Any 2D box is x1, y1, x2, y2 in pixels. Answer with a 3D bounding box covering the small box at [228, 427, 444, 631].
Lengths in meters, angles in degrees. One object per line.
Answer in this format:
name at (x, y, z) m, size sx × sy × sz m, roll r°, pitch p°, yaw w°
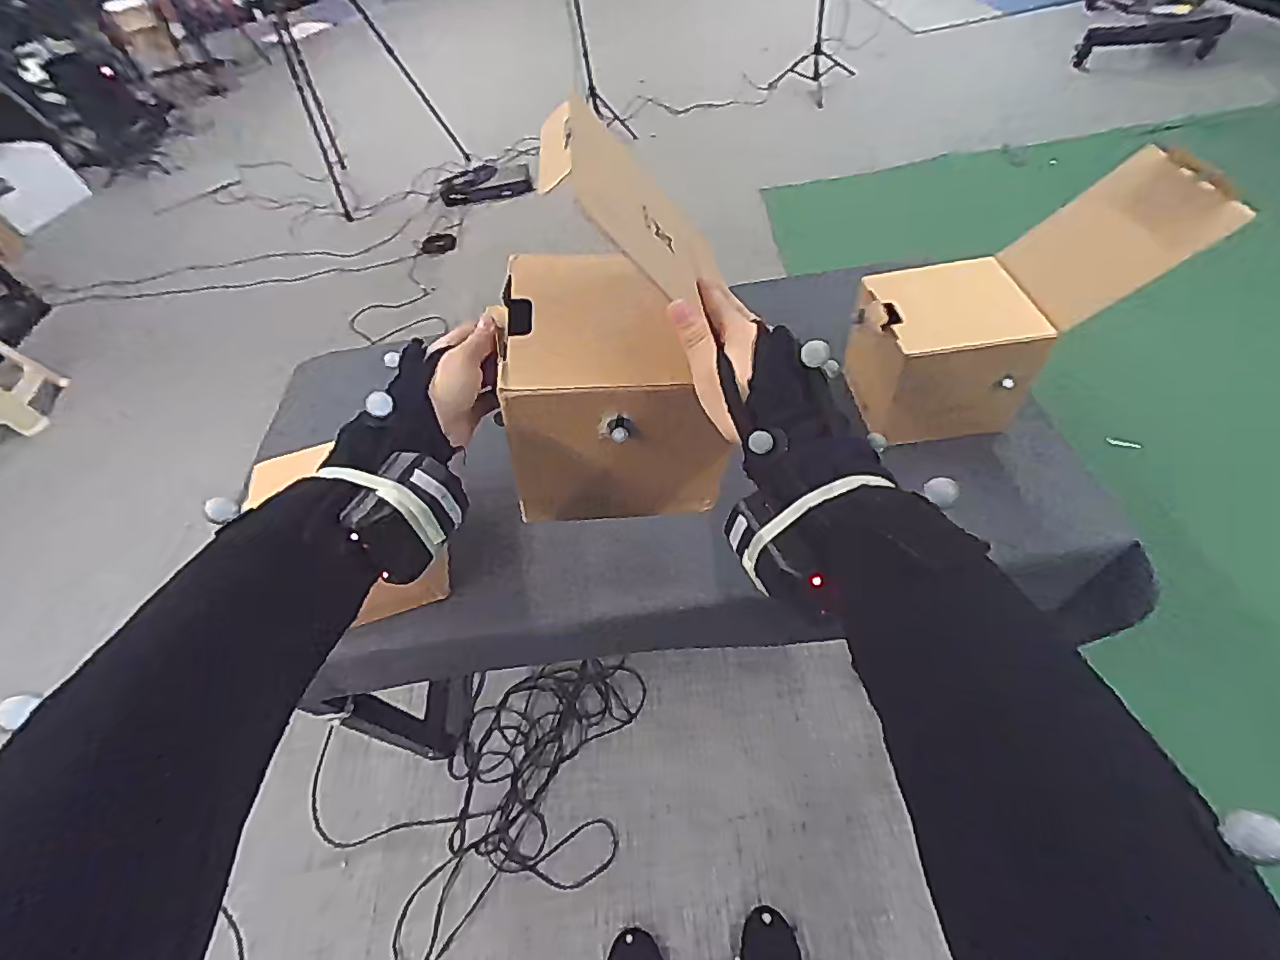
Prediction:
small box at (-0.359, 0.066, 0.682) m, size 0.179 × 0.176 × 0.168 m, roll -17°, pitch 51°, yaw -3°
